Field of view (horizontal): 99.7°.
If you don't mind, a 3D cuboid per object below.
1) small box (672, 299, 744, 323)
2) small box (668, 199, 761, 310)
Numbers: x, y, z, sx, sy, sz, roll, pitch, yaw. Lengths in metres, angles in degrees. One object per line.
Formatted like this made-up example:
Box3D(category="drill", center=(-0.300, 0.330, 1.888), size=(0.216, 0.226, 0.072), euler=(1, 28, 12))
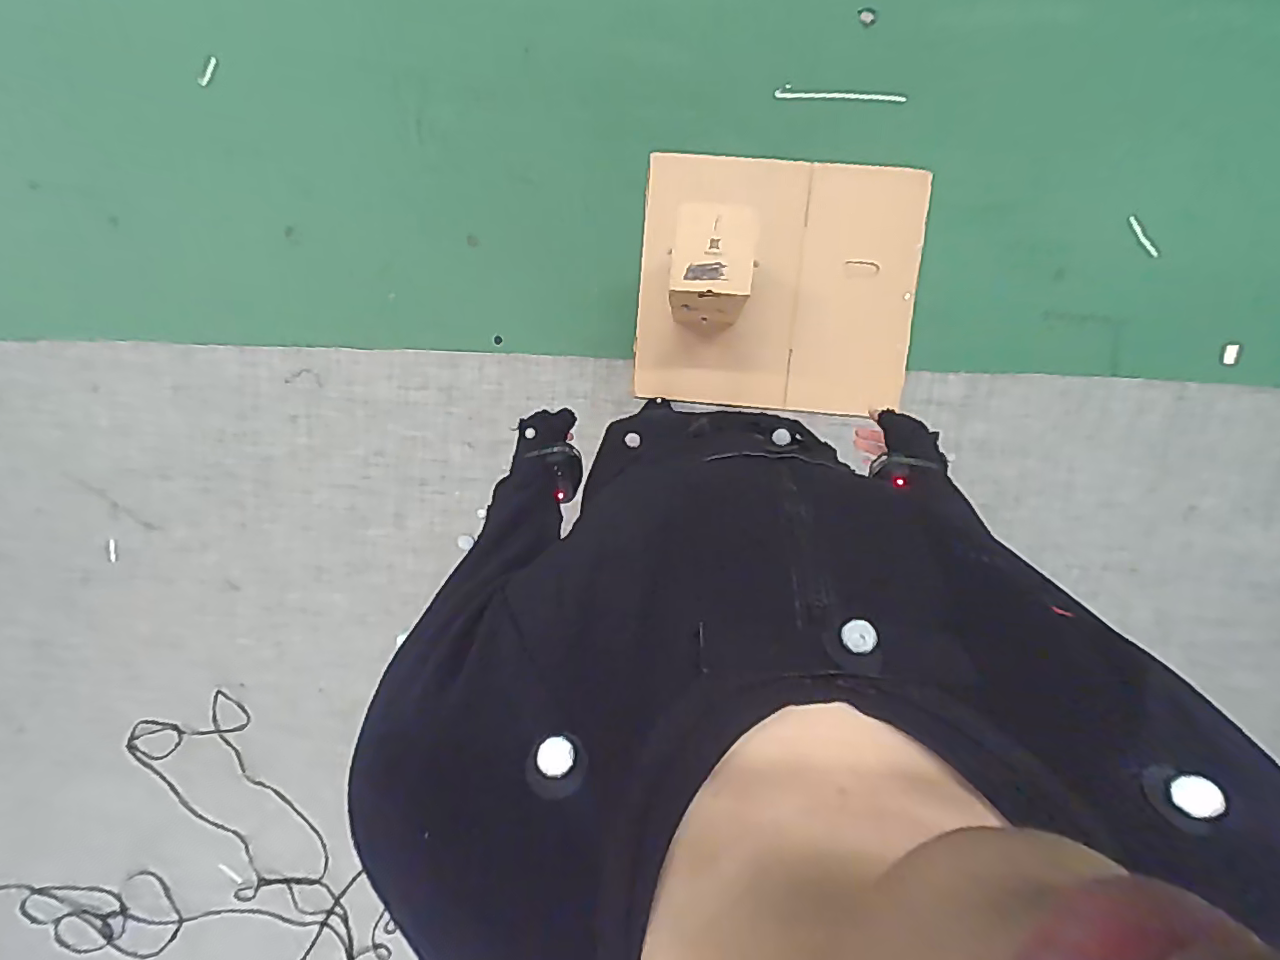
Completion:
Box3D(category="small box", center=(0.165, -0.484, 1.300), size=(0.168, 0.176, 0.179), euler=(4, 98, 5))
Box3D(category="small box", center=(0.152, -0.464, 1.138), size=(0.168, 0.176, 0.179), euler=(5, 97, 4))
